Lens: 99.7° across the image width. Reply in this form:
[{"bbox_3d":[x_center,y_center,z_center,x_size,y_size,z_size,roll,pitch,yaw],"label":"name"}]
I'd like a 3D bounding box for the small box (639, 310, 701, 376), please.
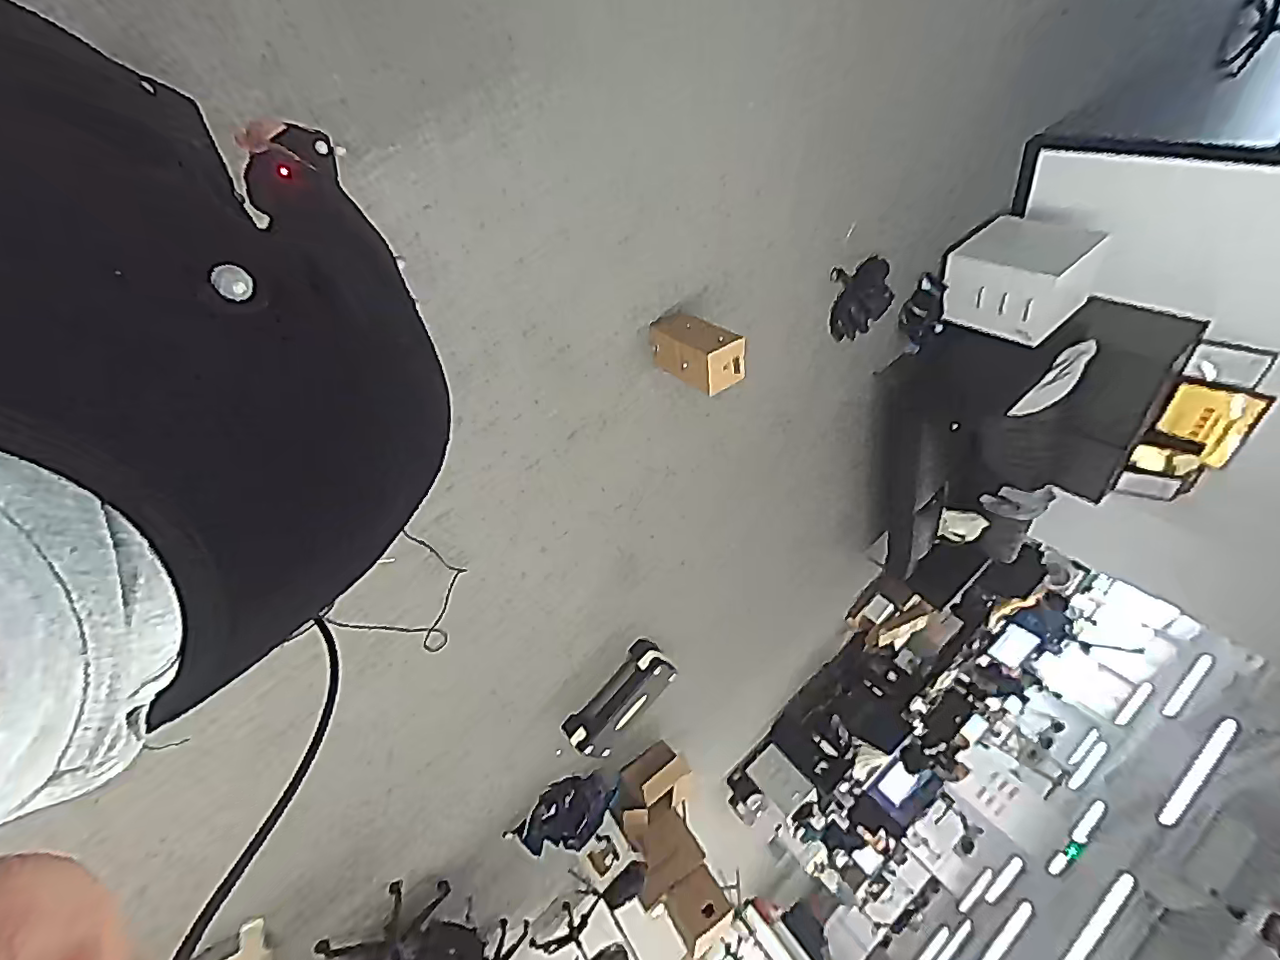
[{"bbox_3d":[0.120,-0.529,2.068,0.179,0.176,0.168,-31,135,-22],"label":"small box"}]

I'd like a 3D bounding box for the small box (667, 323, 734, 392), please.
[{"bbox_3d":[0.221,-0.452,1.964,0.179,0.176,0.168,-31,135,-24],"label":"small box"}]
